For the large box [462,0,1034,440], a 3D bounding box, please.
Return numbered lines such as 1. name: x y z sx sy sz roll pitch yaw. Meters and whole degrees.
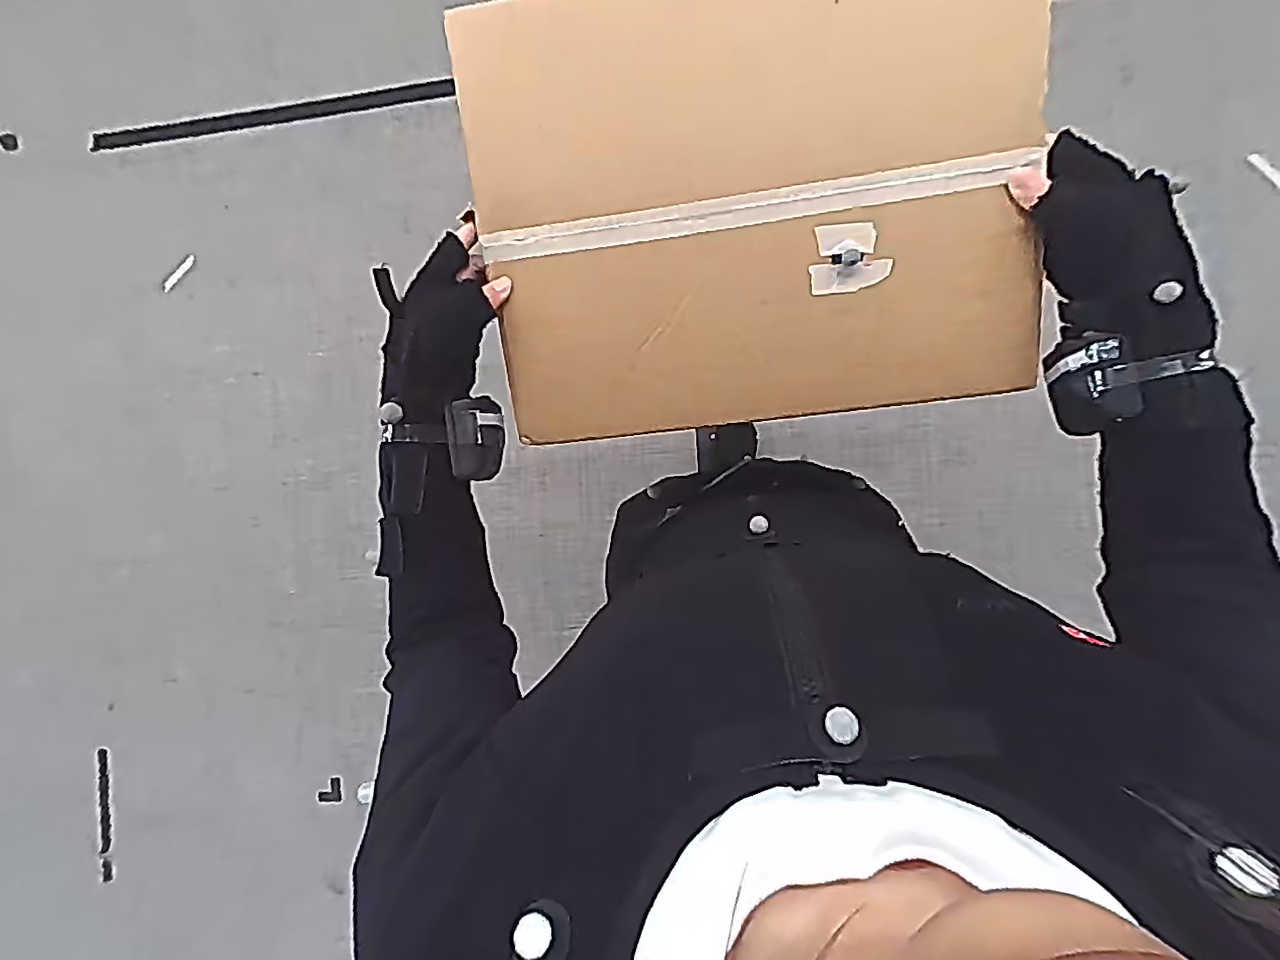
1. large box: 0.093 -0.241 0.553 0.408 0.320 0.320 -7 104 5
